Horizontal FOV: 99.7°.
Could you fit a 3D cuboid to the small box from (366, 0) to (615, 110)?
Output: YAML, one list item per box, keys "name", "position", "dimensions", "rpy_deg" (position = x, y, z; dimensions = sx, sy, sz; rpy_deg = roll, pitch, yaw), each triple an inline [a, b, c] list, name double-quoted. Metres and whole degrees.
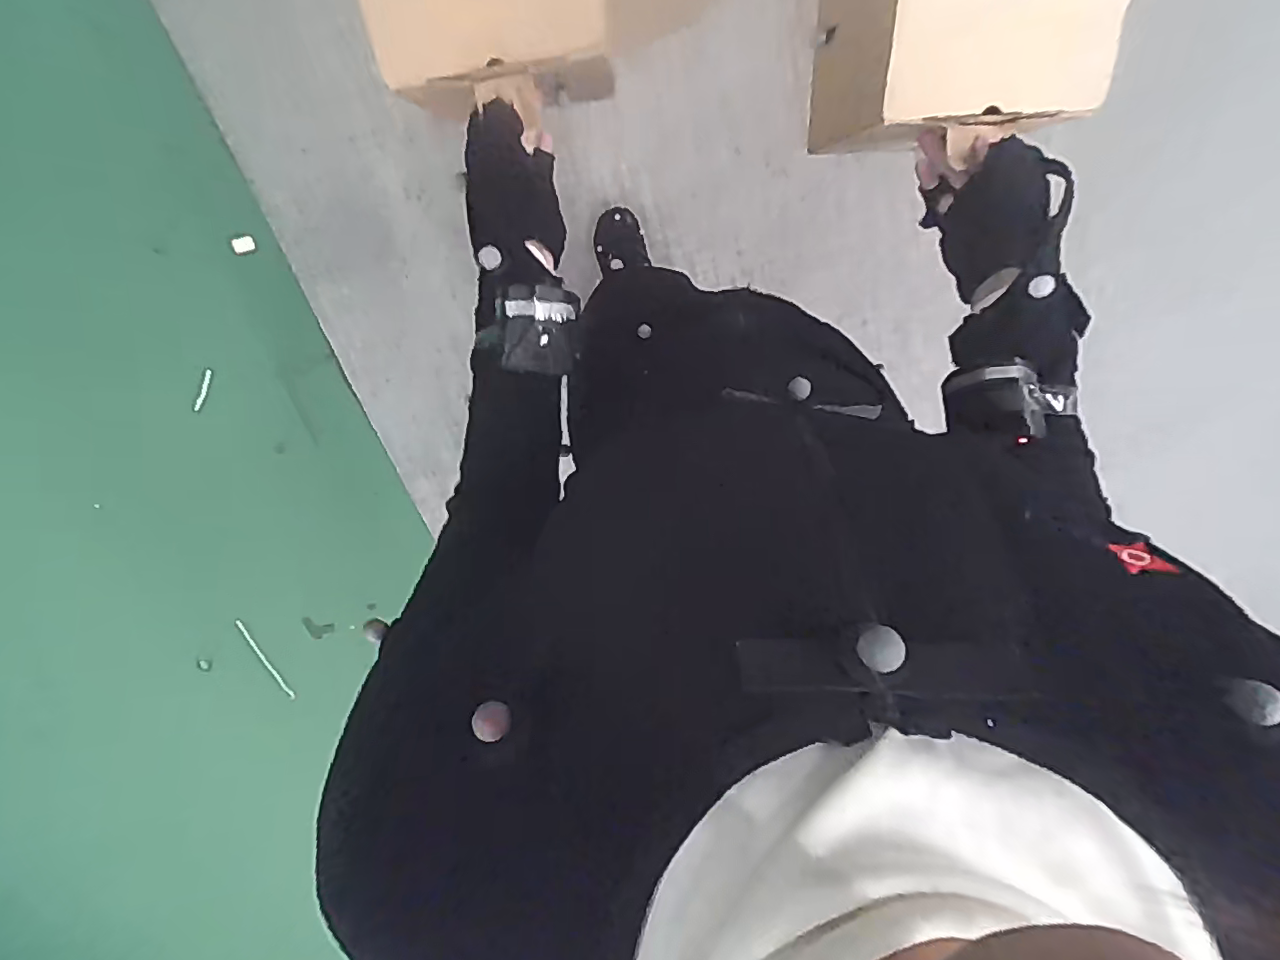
- name: "small box"
  position: [-0.115, -0.413, 0.427]
  dimensions: [0.168, 0.176, 0.179]
  rpy_deg: [-8, 115, 4]

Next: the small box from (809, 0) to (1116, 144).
- name: "small box"
  position: [0.248, -0.384, 0.442]
  dimensions: [0.168, 0.176, 0.179]
  rpy_deg: [-3, 116, -1]
